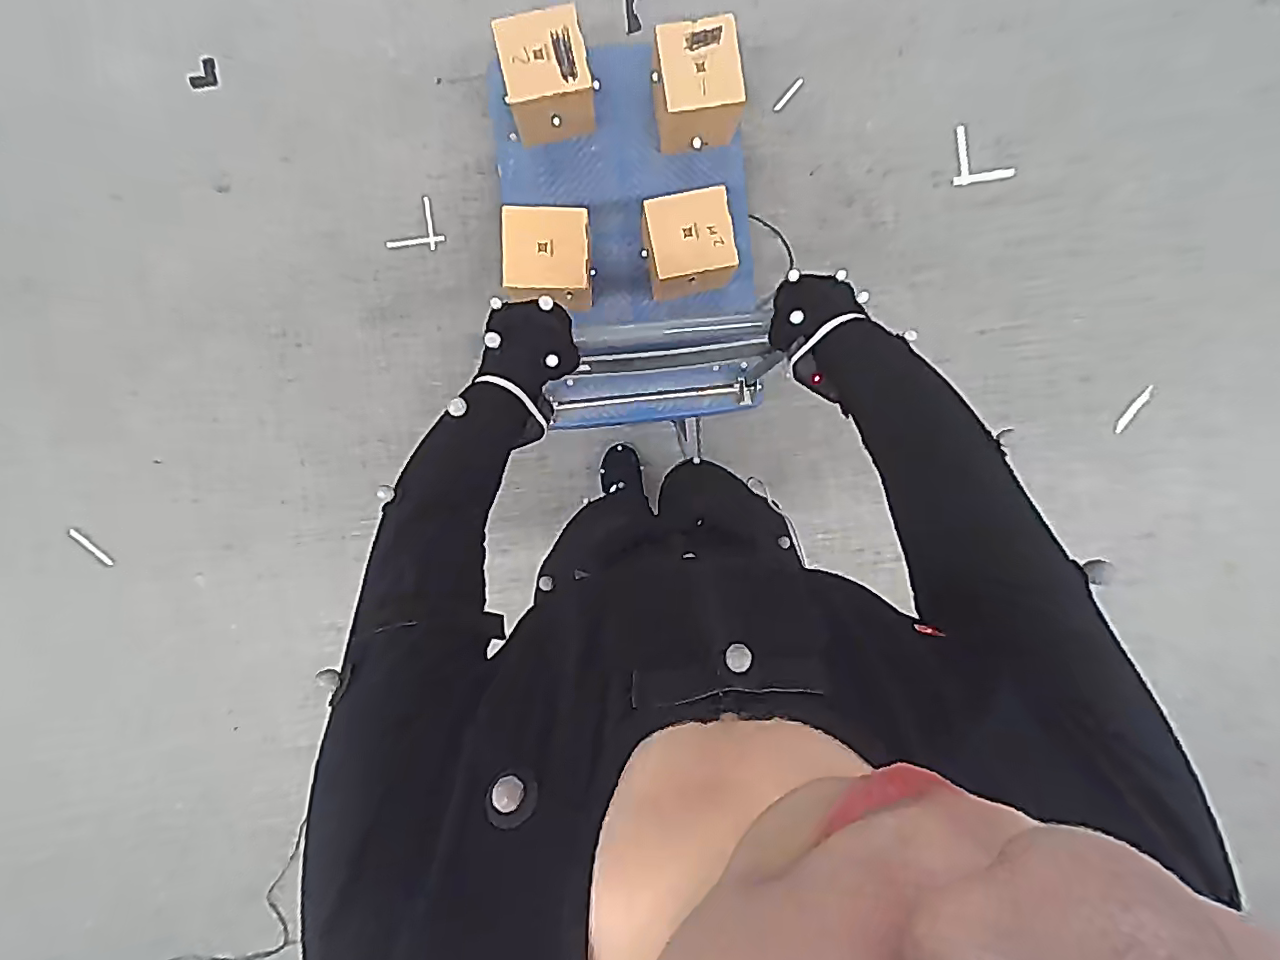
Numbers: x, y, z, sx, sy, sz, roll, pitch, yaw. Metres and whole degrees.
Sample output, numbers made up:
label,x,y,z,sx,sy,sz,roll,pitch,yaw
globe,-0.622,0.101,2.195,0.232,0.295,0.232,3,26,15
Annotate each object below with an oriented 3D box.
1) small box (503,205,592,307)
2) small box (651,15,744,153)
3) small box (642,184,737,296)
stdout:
label,x,y,z,sx,sy,sz,roll,pitch,yaw
small box,-0.199,-0.490,1.202,0.179,0.176,0.168,-1,93,-4
small box,0.119,-0.863,1.191,0.168,0.176,0.179,-10,95,-1
small box,0.104,-0.525,1.210,0.179,0.176,0.168,-12,94,-1
